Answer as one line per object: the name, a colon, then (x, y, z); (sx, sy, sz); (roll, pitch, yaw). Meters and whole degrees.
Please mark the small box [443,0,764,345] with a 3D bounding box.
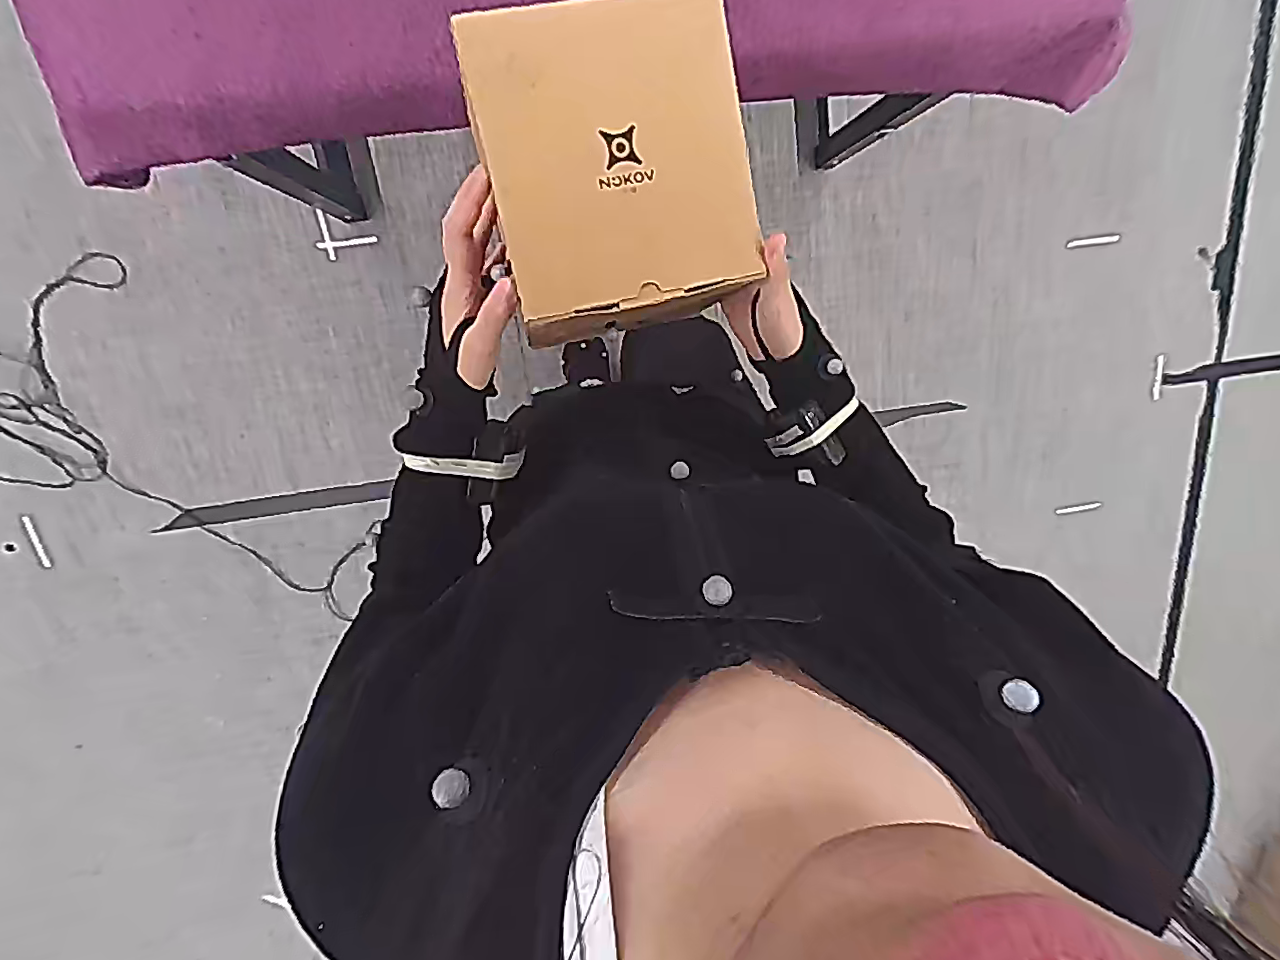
small box: (-0.029, -0.211, 0.408); (0.168, 0.176, 0.179); (-16, 102, -6)
